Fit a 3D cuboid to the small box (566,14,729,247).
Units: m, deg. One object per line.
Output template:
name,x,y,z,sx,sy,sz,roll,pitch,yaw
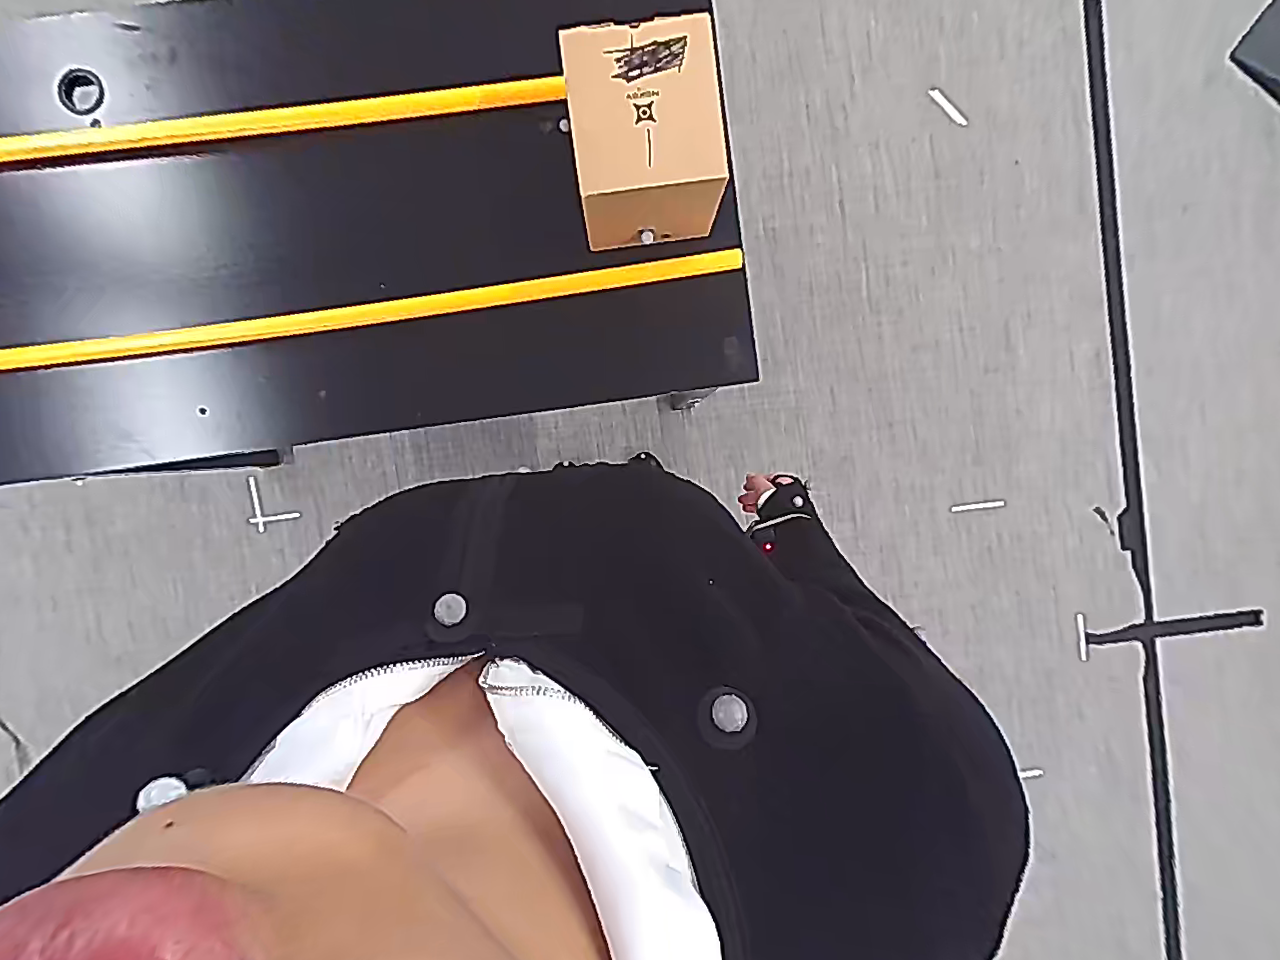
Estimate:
small box,0.006,-0.411,0.664,0.168,0.176,0.179,-7,94,0
